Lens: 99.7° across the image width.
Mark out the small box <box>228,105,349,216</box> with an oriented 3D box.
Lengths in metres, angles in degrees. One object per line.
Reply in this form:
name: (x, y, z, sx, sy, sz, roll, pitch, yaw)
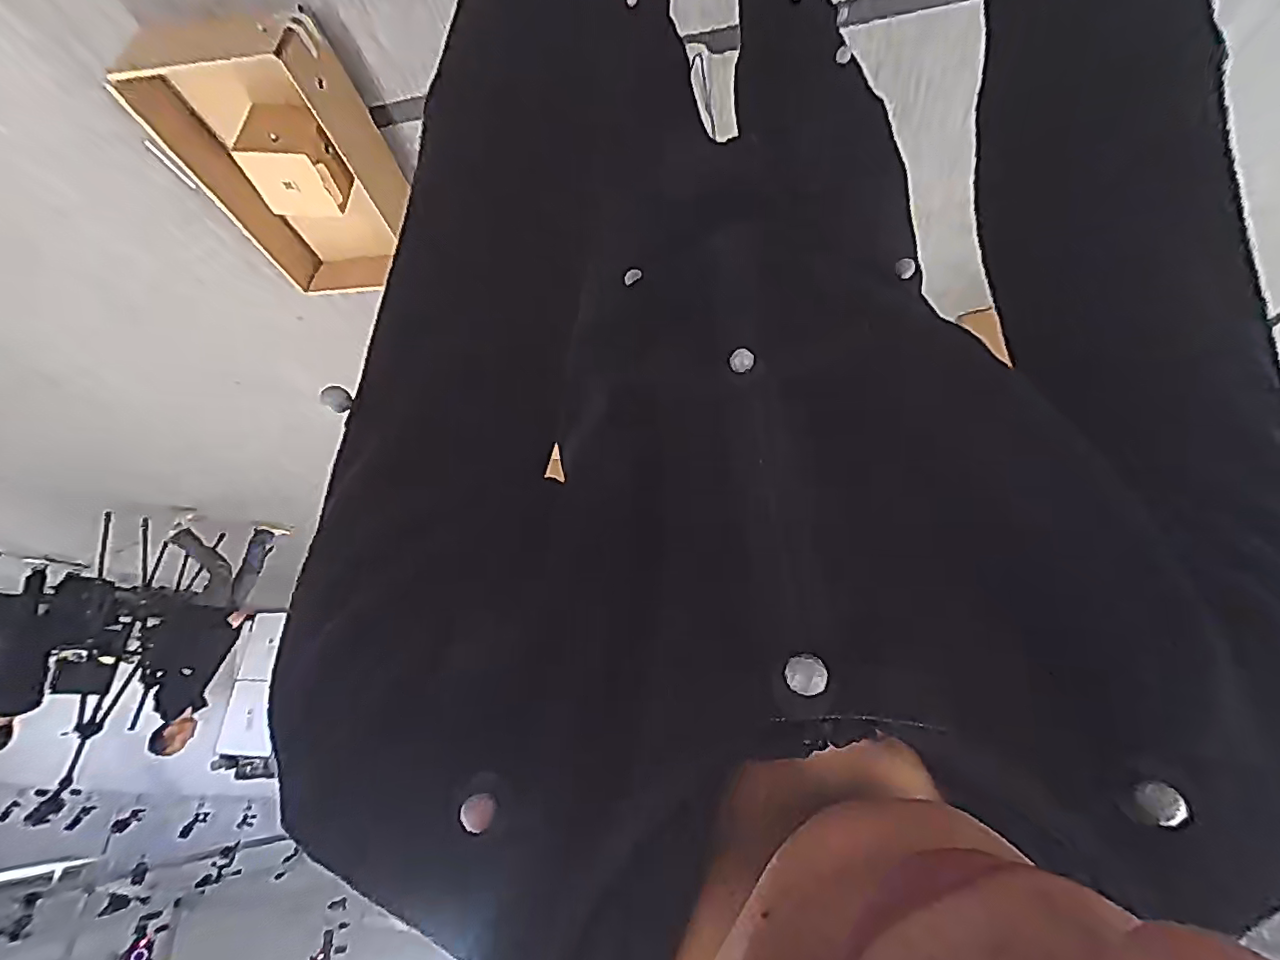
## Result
small box: (-0.822, -0.760, 1.290, 0.179, 0.176, 0.168, 1, 156, -1)
